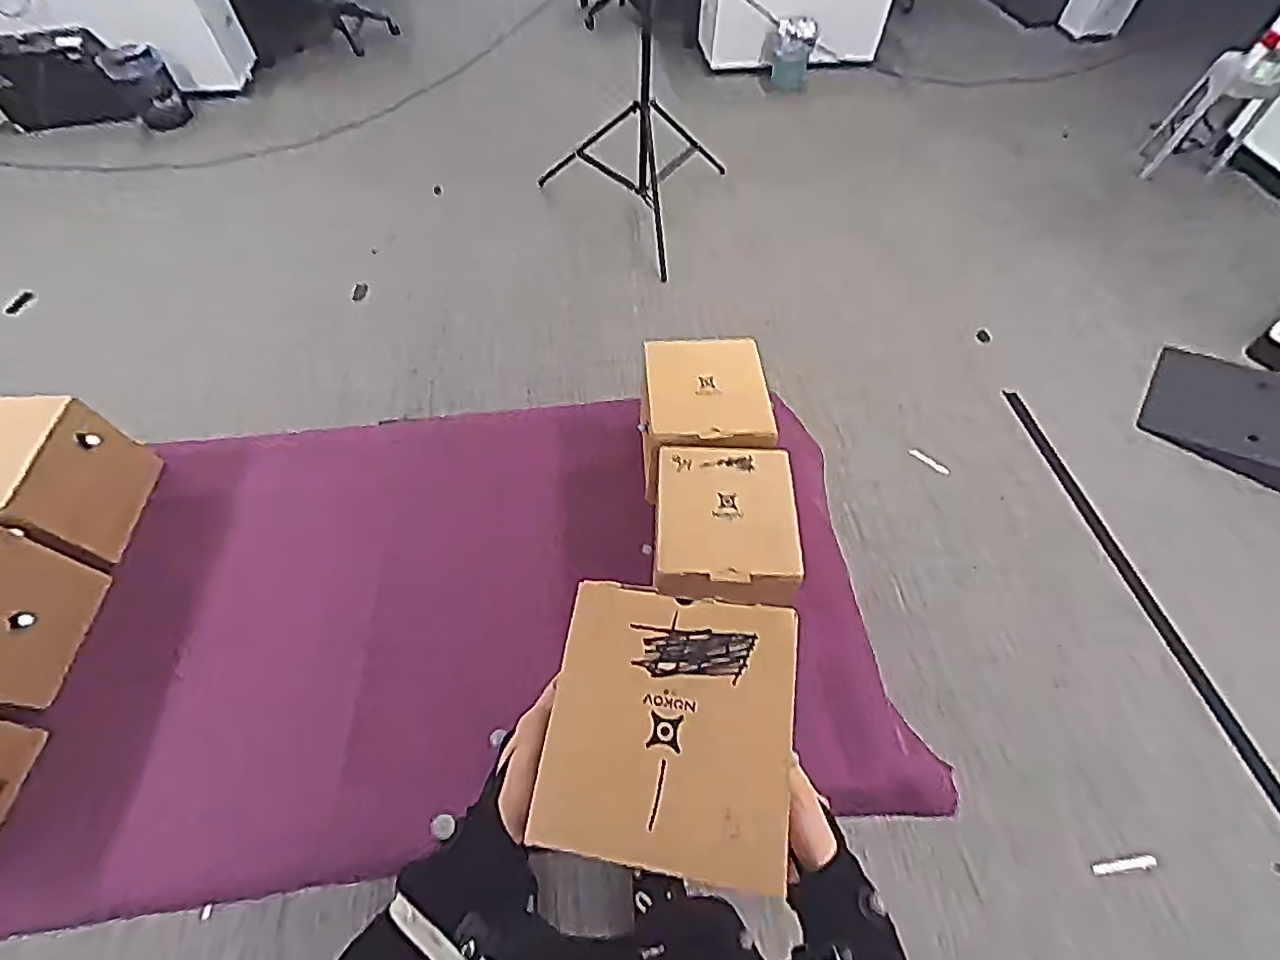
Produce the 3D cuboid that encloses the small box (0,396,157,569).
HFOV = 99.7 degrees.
[{"bbox_3d":[-0.821,0.007,0.734,0.168,0.176,0.179,-2,59,-3],"label":"small box"}]

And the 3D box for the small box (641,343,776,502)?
[{"bbox_3d":[0.089,-0.083,0.813,0.168,0.176,0.179,-2,58,-3],"label":"small box"}]

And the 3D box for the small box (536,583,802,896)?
[{"bbox_3d":[0.032,0.203,0.446,0.168,0.176,0.179,6,63,9],"label":"small box"}]
